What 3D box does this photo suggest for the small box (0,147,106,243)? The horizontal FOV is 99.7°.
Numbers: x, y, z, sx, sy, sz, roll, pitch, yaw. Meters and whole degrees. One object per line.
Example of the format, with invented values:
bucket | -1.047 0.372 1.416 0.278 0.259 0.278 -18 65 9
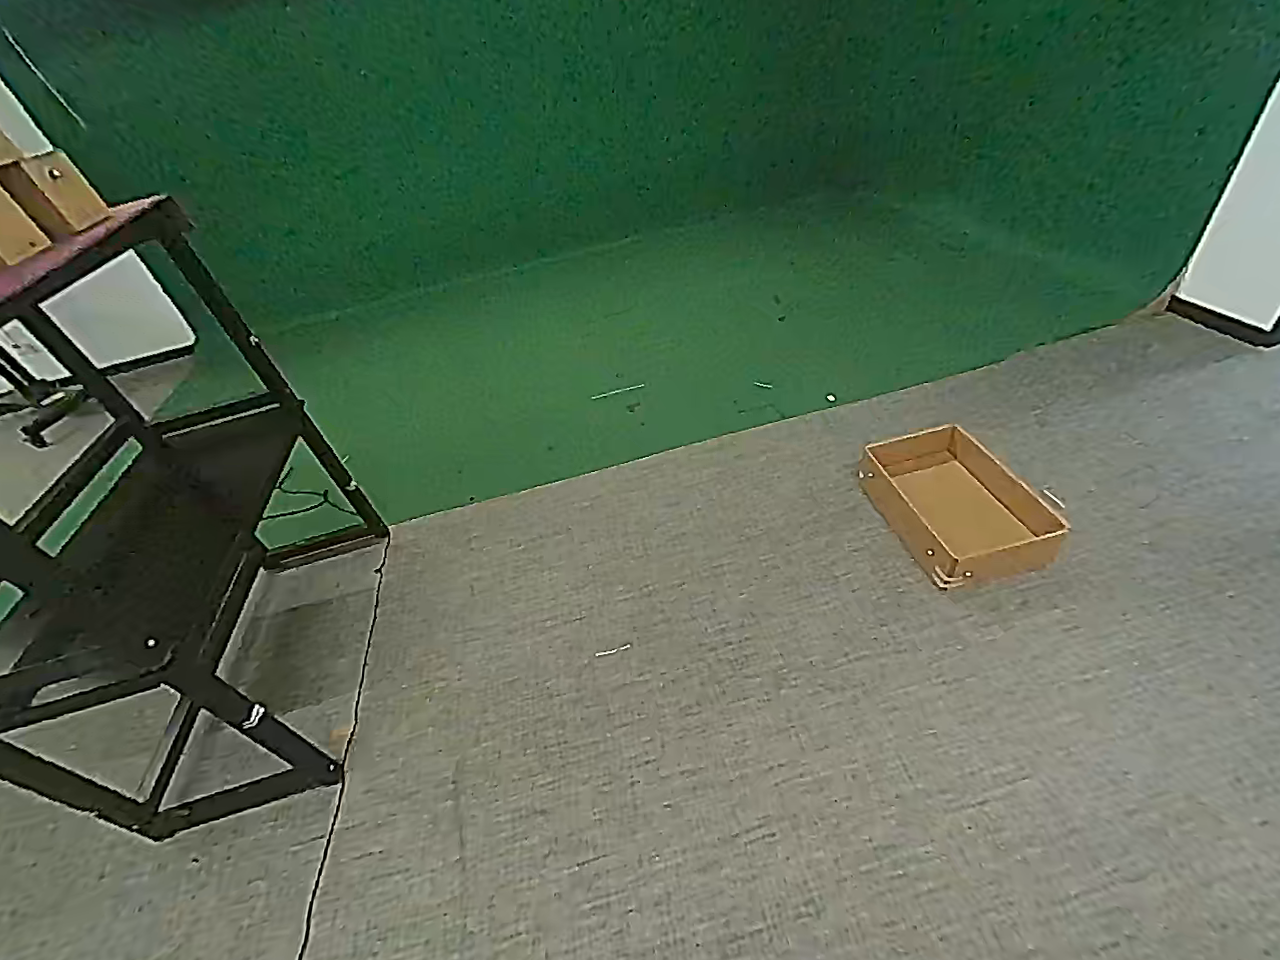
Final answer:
small box | -1.553 -0.727 1.389 0.168 0.176 0.179 -16 41 -3
